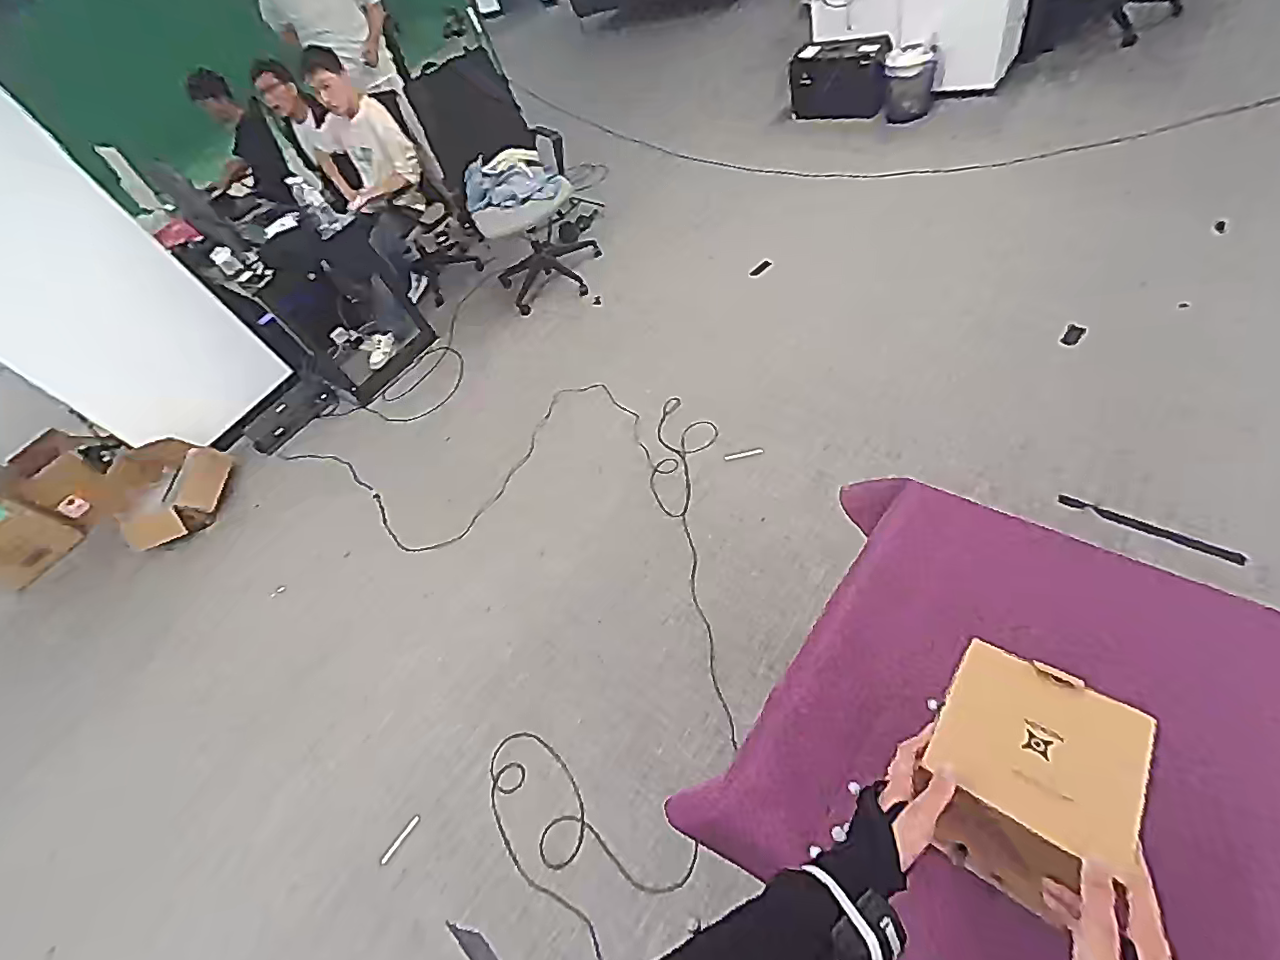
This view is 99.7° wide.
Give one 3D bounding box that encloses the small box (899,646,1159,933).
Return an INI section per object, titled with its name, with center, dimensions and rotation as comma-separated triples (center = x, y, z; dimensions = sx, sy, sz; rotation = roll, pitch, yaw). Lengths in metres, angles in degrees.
[small box]
center = 0.397, 0.322, 0.574
dimensions = 0.168, 0.176, 0.179
rotation = 25, 52, 34
